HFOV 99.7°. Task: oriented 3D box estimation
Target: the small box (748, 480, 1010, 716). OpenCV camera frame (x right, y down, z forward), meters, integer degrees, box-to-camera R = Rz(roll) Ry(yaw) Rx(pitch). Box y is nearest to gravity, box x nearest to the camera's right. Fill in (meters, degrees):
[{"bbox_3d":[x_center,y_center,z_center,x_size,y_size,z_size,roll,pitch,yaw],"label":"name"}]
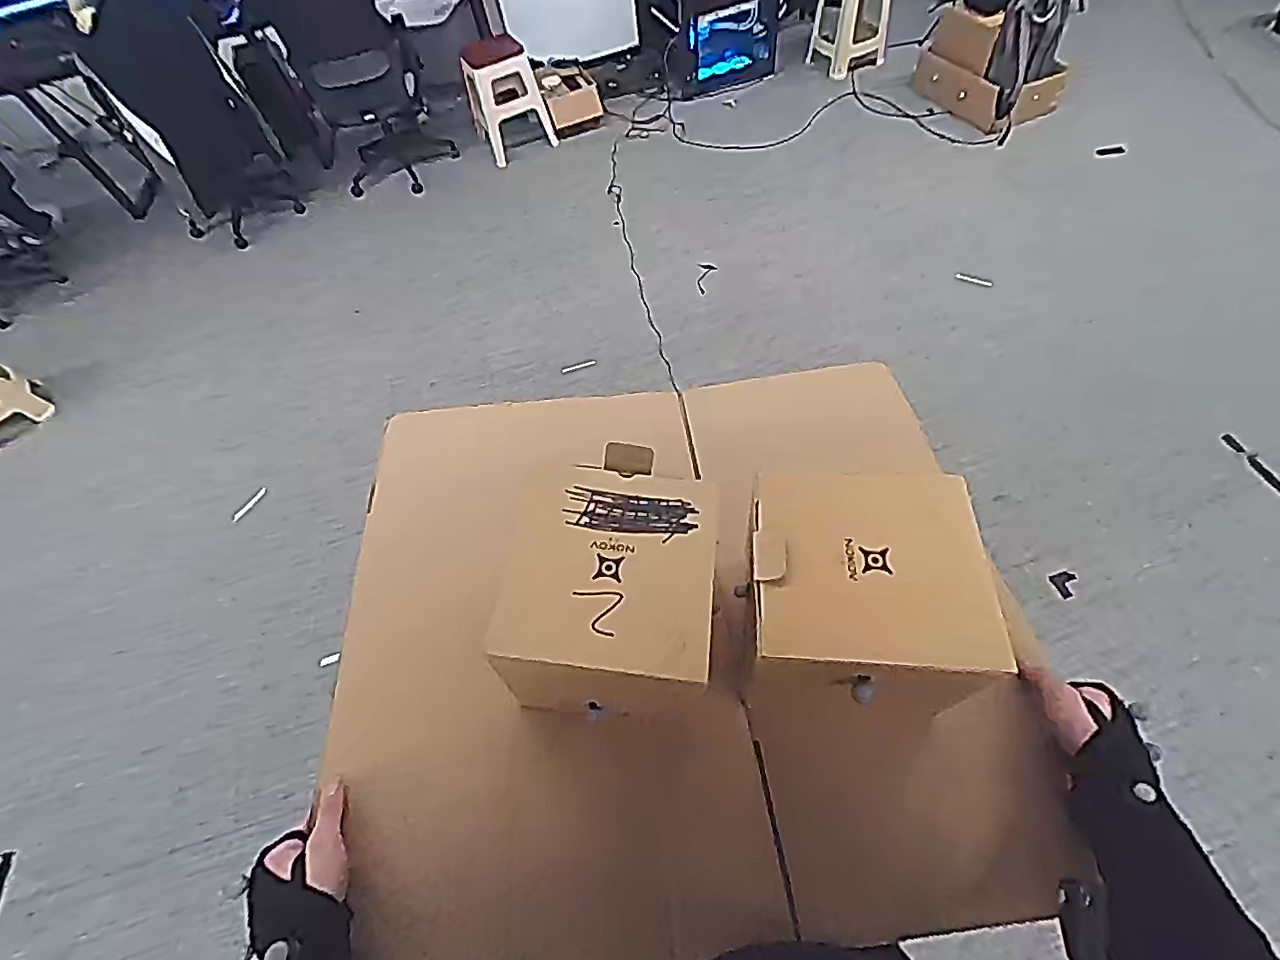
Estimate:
[{"bbox_3d":[0.195,0.115,0.504,0.179,0.176,0.168,0,56,9],"label":"small box"}]
